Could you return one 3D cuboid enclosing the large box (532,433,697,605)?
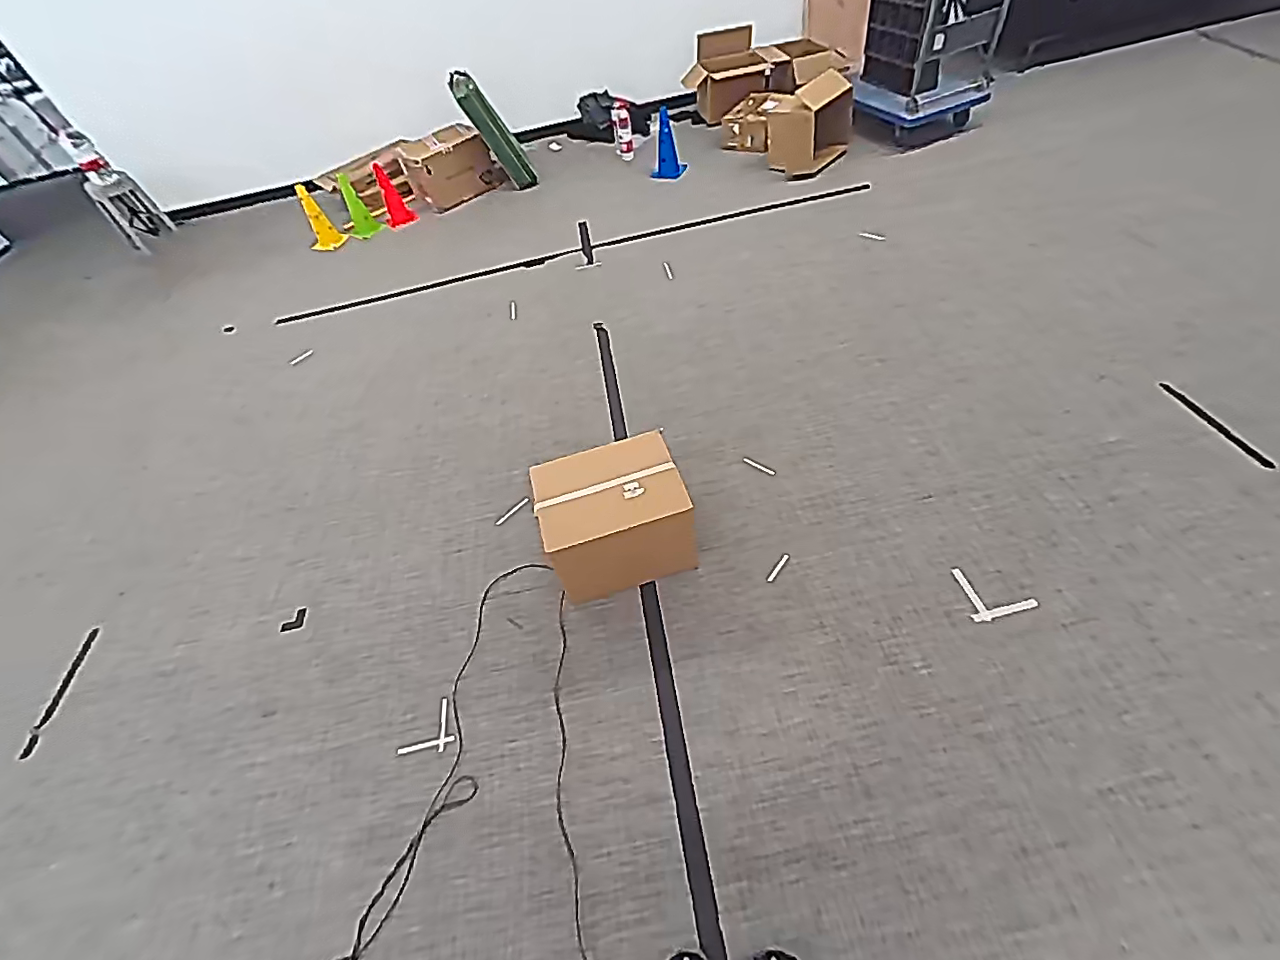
[{"bbox_3d":[-0.071,0.120,1.611,0.408,0.320,0.320,-16,51,-4],"label":"large box"}]
